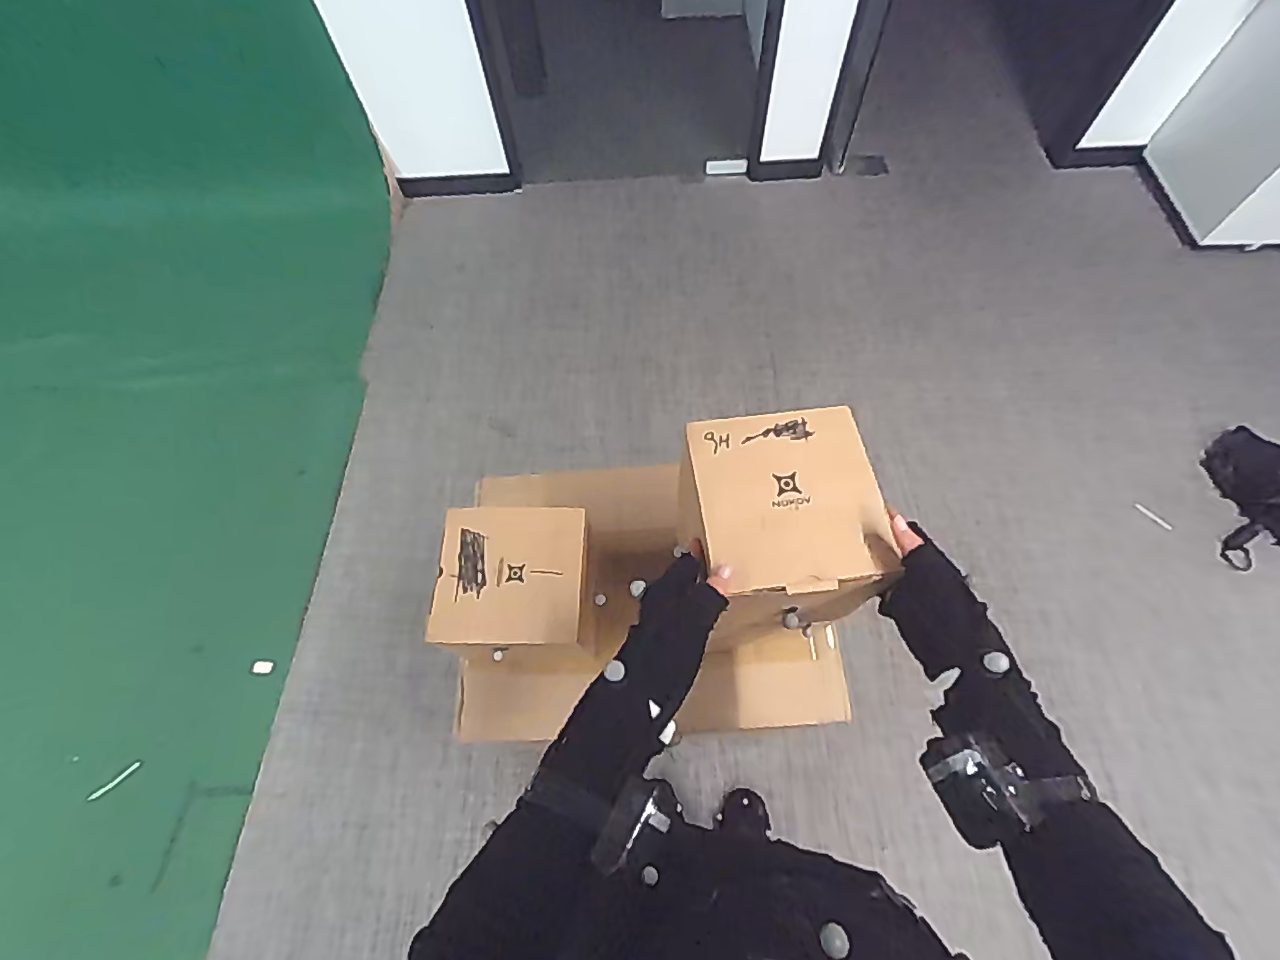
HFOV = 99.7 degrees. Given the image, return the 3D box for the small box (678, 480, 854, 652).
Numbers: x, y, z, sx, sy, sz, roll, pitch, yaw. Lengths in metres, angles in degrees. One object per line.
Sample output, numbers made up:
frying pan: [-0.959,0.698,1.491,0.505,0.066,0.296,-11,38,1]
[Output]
small box: [0.151,0.121,0.718,0.179,0.176,0.168,-11,63,-1]

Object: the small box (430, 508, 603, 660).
small box: [-0.149,0.144,0.719,0.179,0.176,0.168,0,65,2]
